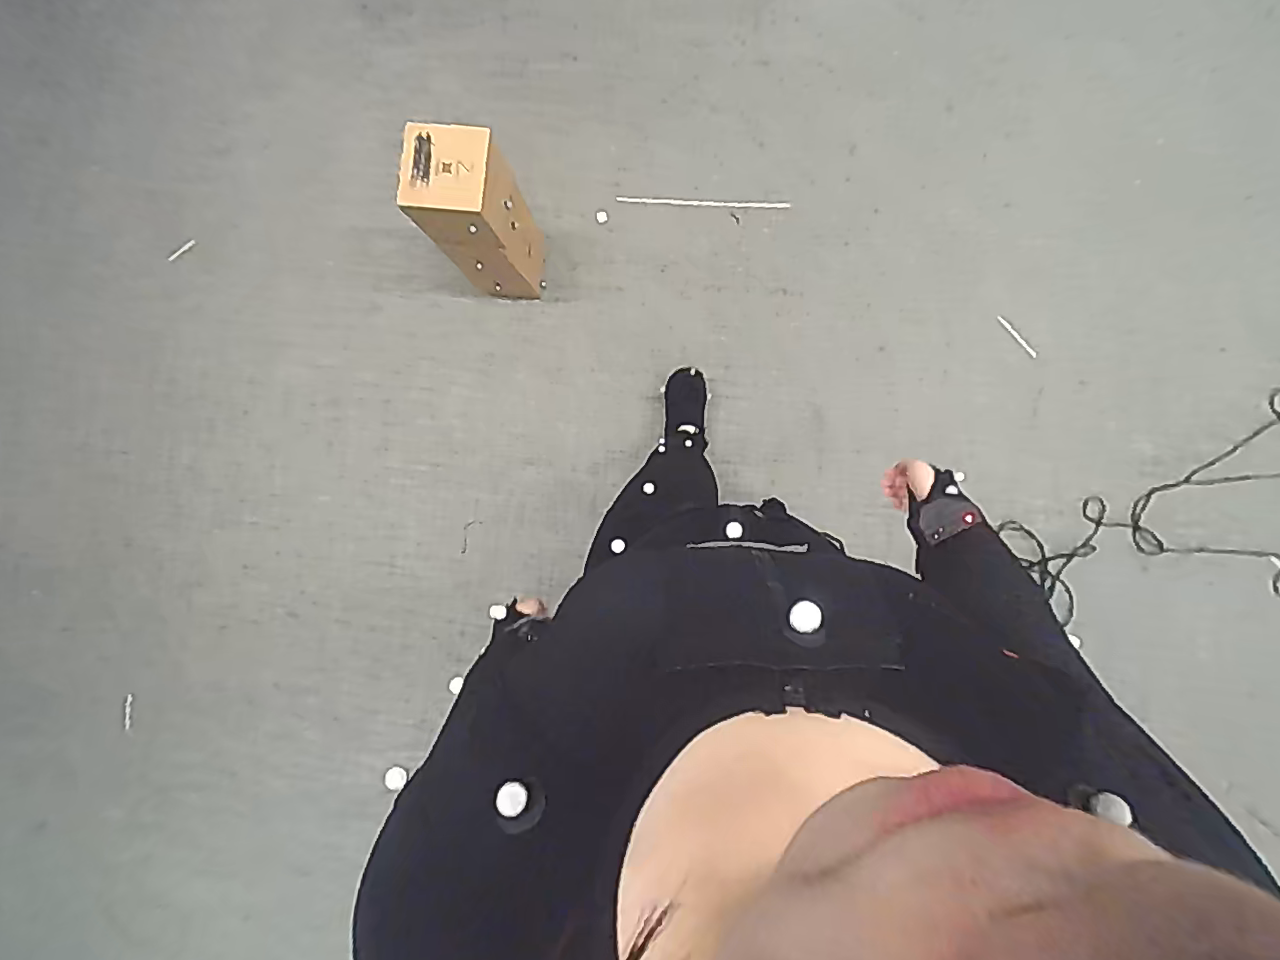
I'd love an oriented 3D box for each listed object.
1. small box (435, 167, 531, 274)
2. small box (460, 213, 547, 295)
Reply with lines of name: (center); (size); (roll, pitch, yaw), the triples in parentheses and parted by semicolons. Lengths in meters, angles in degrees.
small box: (-0.367, -0.608, 1.288); (0.168, 0.176, 0.179); (7, 91, 4)
small box: (-0.359, -0.608, 1.453); (0.179, 0.176, 0.168); (7, 91, 6)
